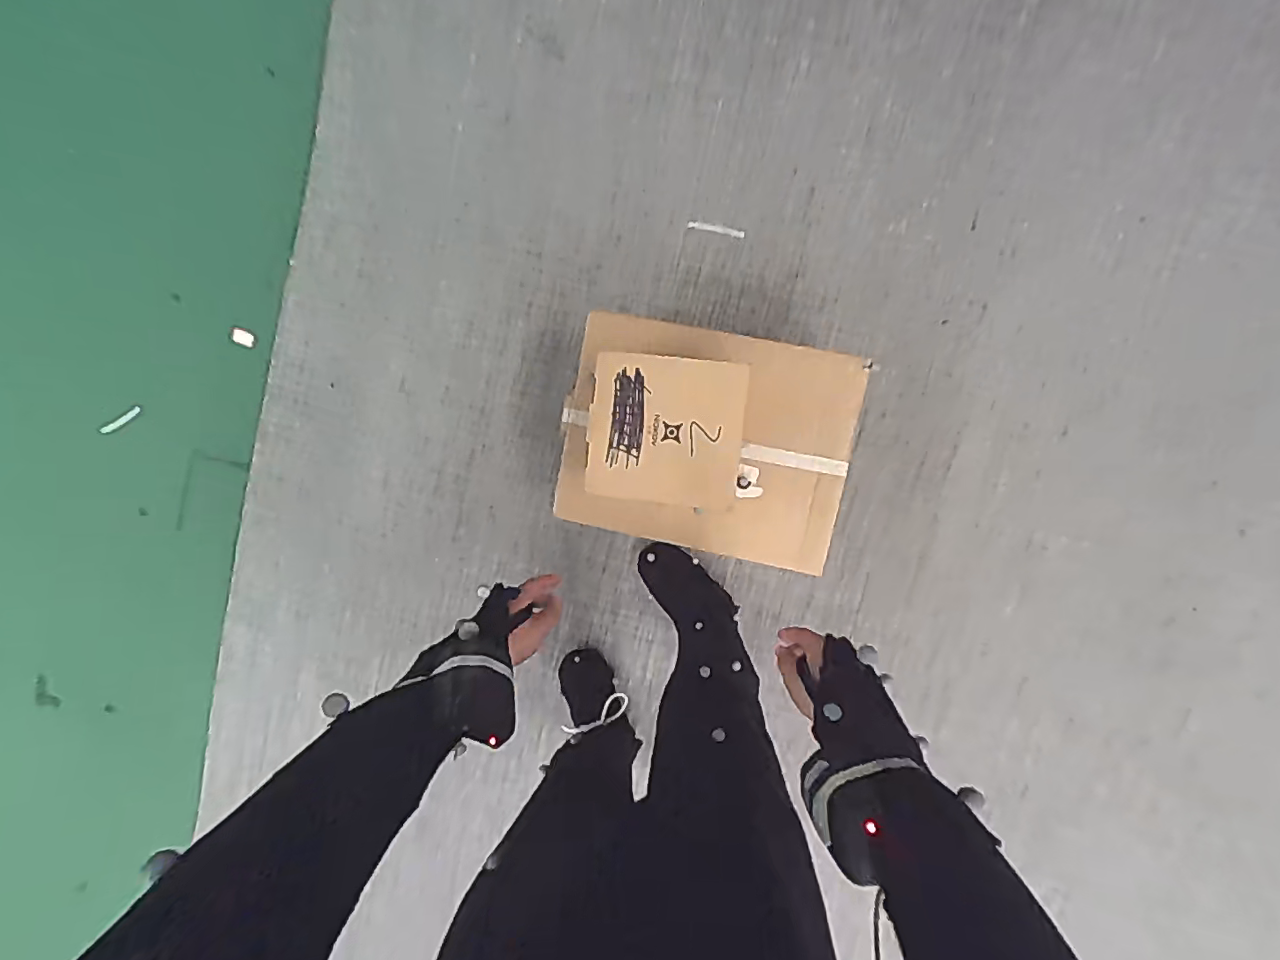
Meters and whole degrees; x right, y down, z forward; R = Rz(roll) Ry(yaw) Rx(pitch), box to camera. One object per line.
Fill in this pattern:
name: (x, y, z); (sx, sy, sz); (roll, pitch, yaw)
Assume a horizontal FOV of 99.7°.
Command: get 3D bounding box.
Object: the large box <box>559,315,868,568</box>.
large box: (0.111, -0.067, 0.924); (0.408, 0.320, 0.320); (11, 96, 6)
